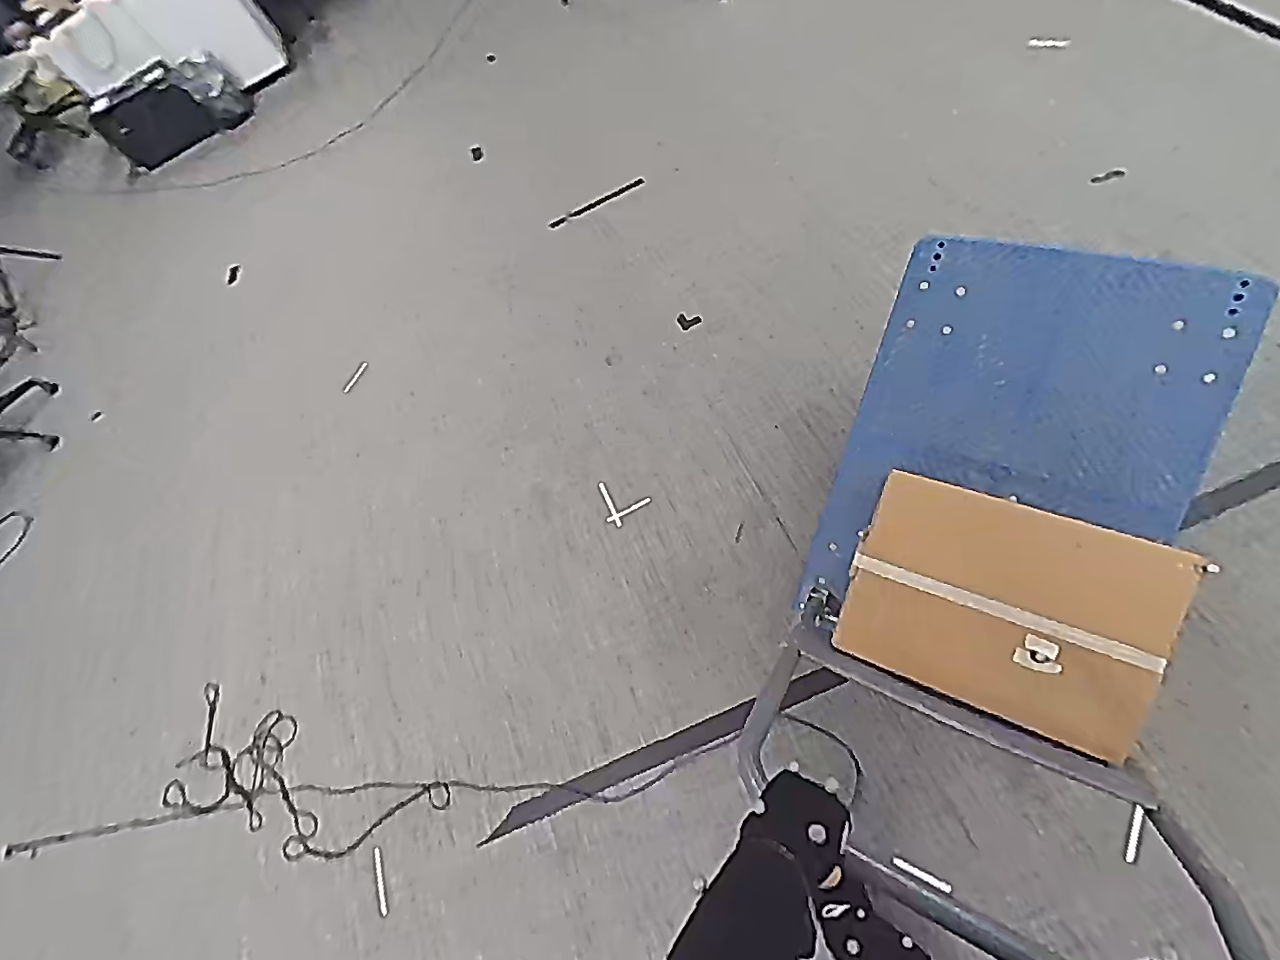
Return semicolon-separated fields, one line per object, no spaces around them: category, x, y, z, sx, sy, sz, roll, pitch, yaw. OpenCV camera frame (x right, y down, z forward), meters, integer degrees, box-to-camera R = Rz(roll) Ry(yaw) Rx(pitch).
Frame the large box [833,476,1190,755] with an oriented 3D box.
large box;0.597;0.195;0.966;0.408;0.320;0.320;19;97;22
